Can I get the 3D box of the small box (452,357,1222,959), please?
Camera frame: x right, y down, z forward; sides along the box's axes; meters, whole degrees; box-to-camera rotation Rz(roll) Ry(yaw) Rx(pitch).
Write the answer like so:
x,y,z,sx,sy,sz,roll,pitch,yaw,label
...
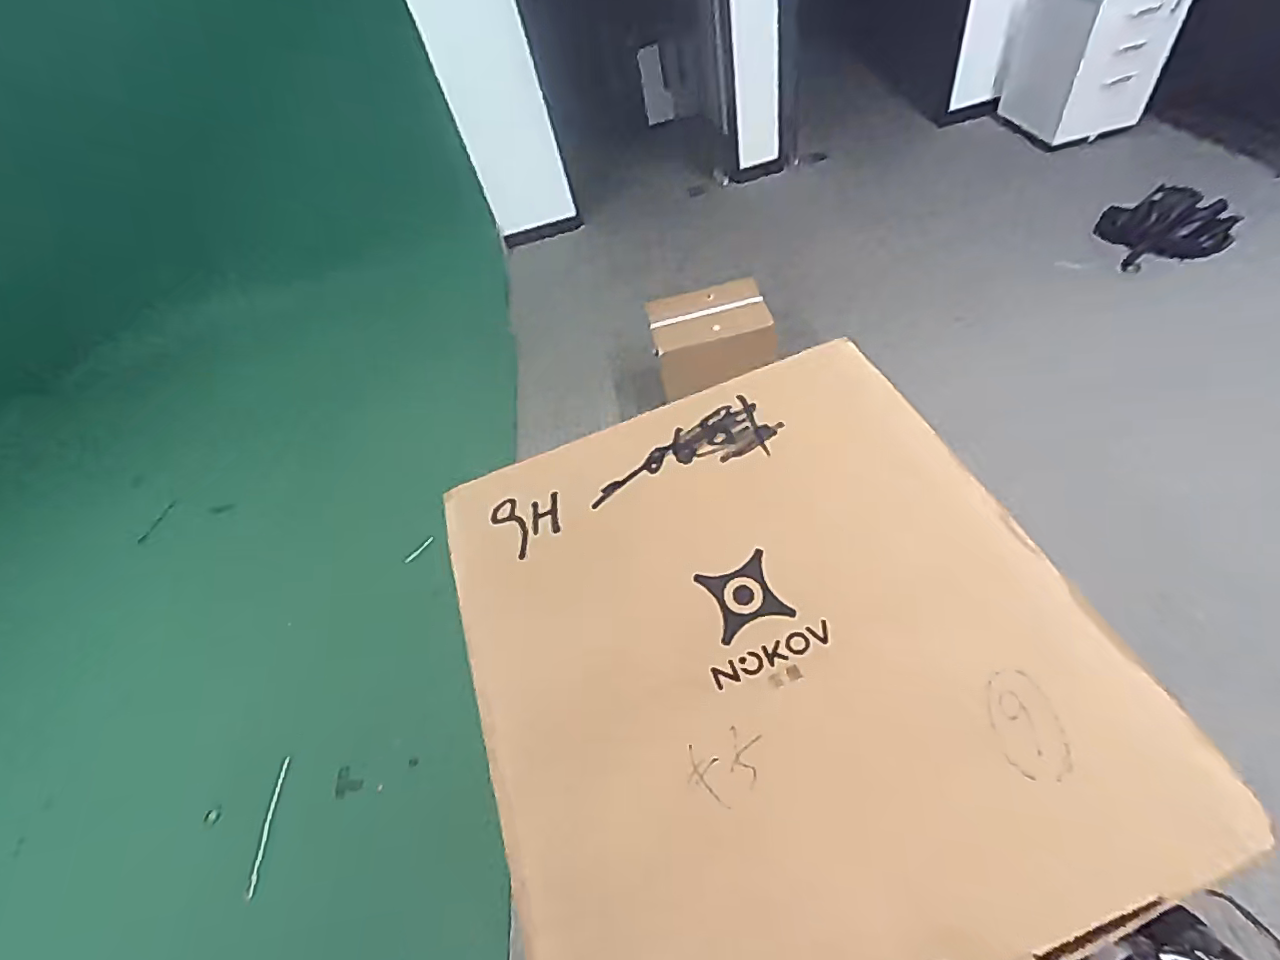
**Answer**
x,y,z,sx,sy,sz,roll,pitch,yaw,label
0.045,0.087,0.232,0.168,0.176,0.179,-21,59,-3,small box
